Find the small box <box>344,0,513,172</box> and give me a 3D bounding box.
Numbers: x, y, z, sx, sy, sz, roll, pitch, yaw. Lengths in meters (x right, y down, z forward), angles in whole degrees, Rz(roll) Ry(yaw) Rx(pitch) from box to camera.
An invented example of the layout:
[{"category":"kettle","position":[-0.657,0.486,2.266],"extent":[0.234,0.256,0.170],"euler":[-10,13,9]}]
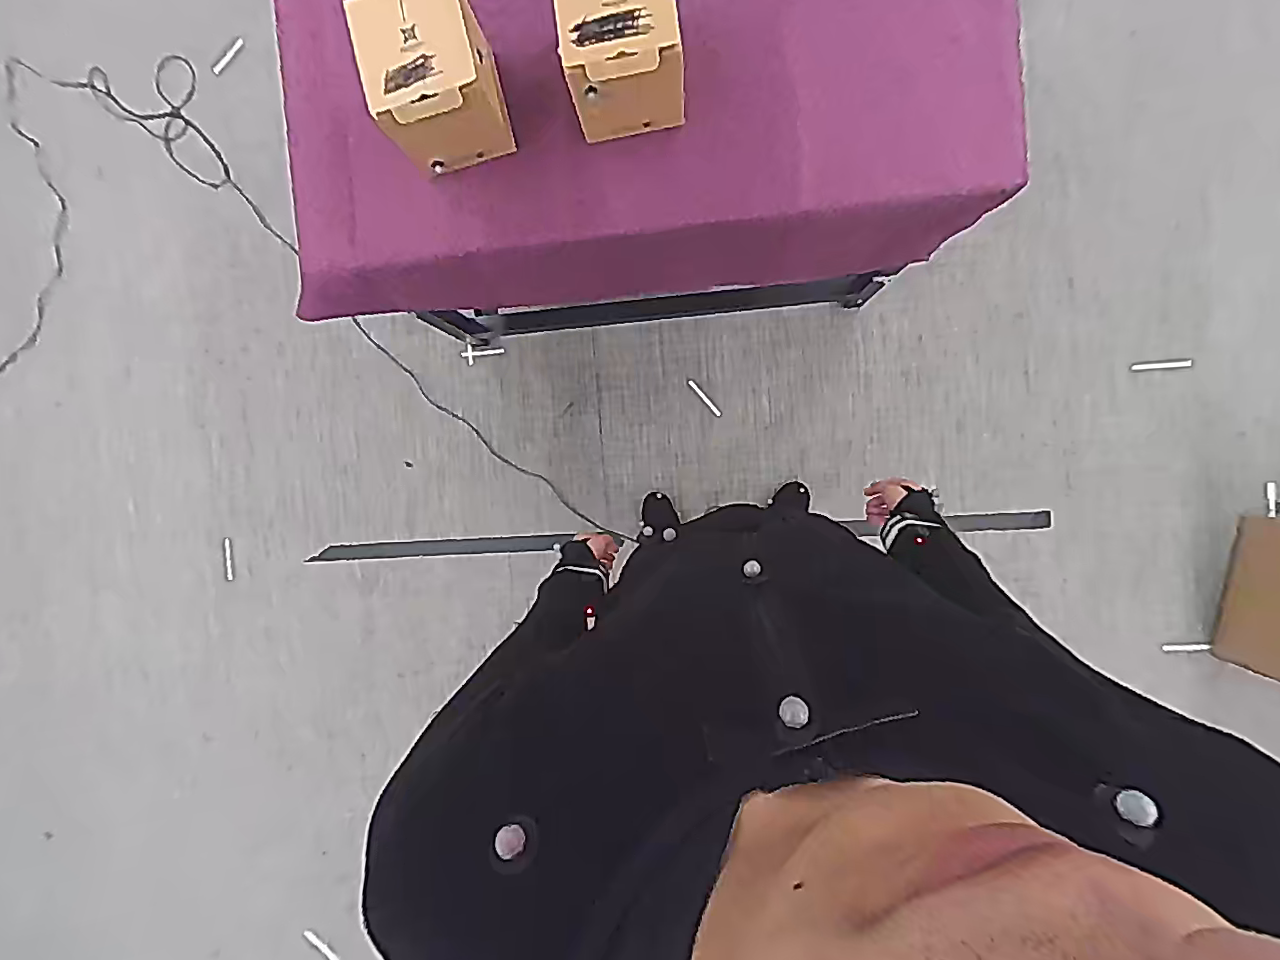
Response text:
[{"category":"small box","position":[-0.313,-0.610,0.835],"extent":[0.168,0.176,0.179],"euler":[-14,90,5]}]
